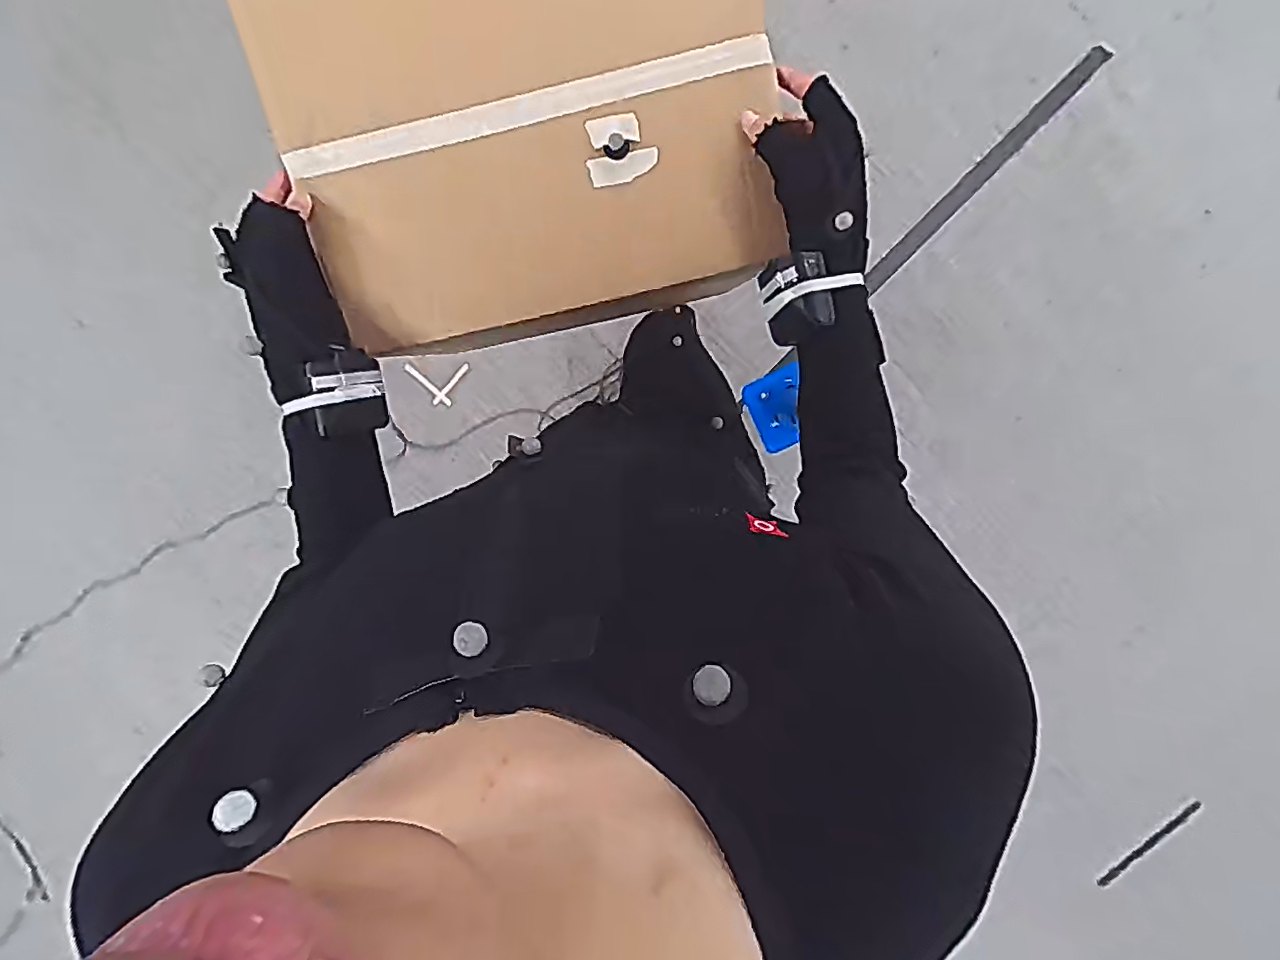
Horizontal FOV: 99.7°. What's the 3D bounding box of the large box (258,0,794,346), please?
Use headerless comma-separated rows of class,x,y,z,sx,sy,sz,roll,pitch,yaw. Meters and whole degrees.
large box,-0.092,-0.348,0.598,0.408,0.320,0.320,-12,104,1

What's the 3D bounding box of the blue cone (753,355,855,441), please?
blue cone,0.409,-0.185,1.275,0.192,0.380,0.193,-24,99,4
